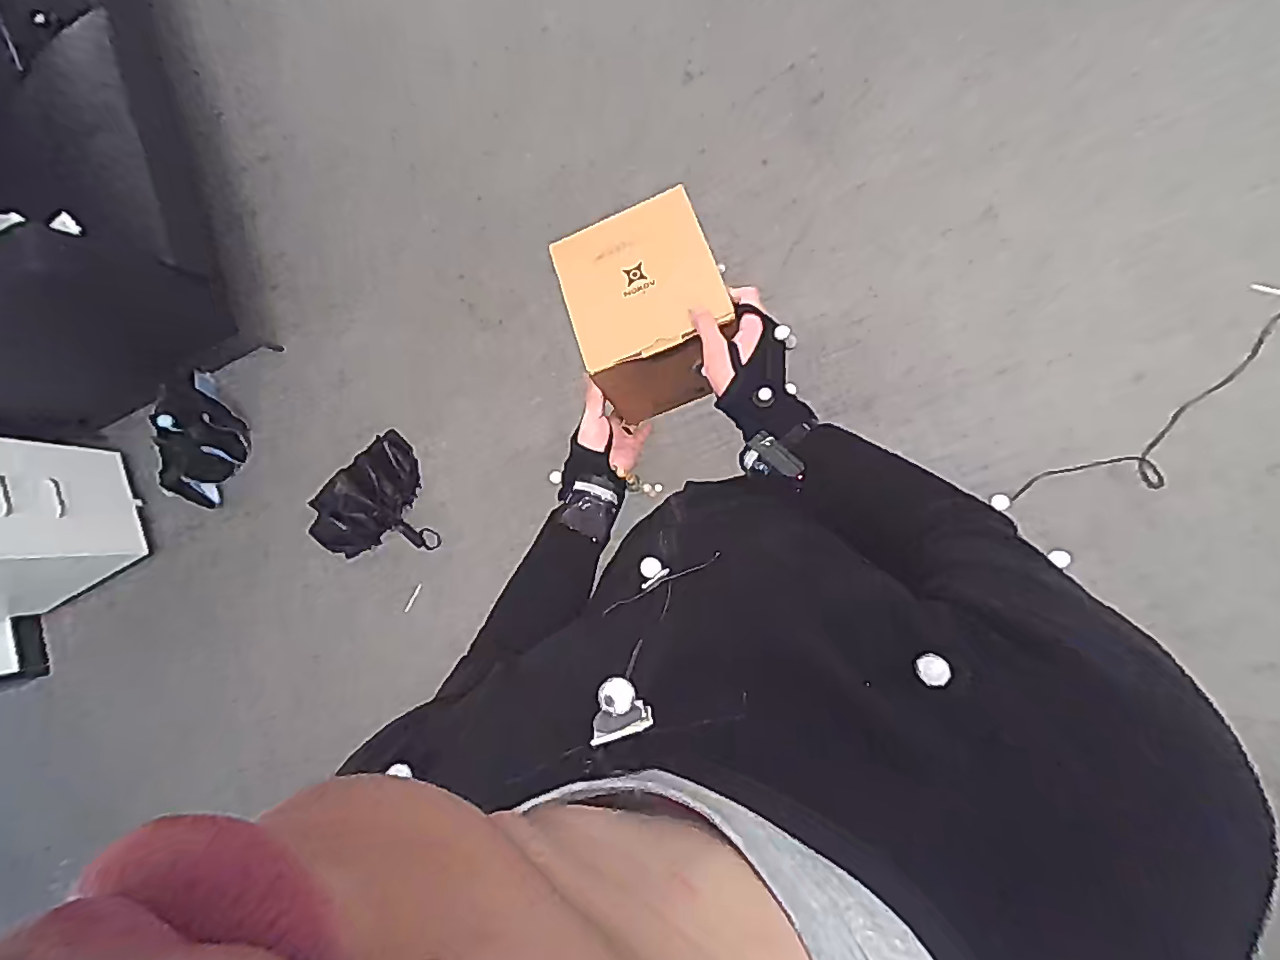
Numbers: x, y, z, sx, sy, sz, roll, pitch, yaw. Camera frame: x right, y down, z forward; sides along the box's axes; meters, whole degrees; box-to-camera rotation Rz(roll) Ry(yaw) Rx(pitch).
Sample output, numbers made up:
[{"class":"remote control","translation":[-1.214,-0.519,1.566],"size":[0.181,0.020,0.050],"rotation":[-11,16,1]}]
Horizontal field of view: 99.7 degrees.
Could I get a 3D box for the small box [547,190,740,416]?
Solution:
[{"class":"small box","translation":[0.013,-0.194,0.651],"size":[0.168,0.176,0.179],"rotation":[-21,71,10]}]
